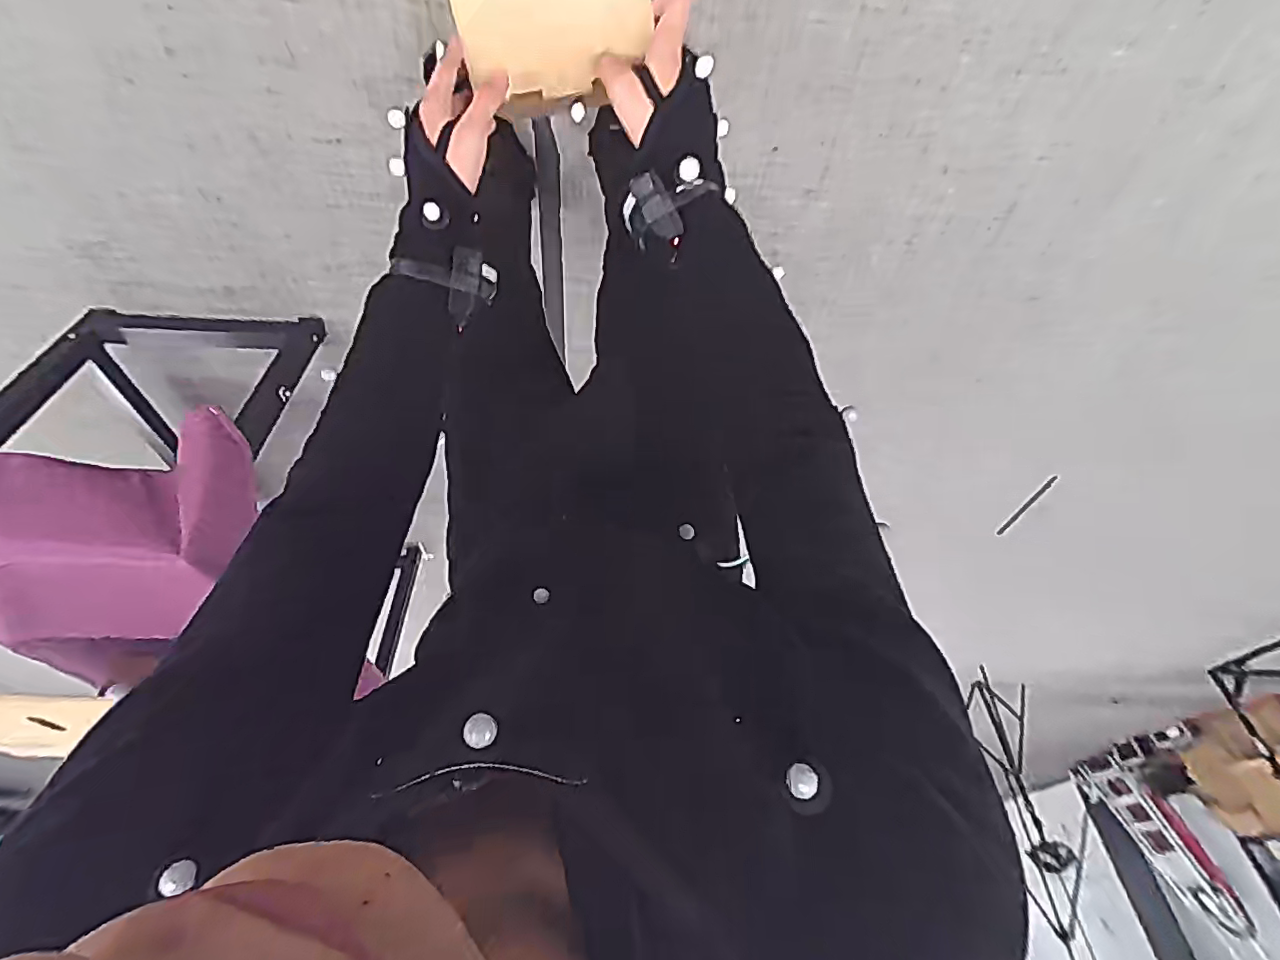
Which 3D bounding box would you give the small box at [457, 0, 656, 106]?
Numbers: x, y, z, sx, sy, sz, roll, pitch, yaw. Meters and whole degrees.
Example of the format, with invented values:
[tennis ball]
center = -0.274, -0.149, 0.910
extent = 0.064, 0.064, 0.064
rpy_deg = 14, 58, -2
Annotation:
[small box]
center = -0.075, -0.466, 0.505
extent = 0.168, 0.176, 0.179
rpy_deg = -8, 120, 4
